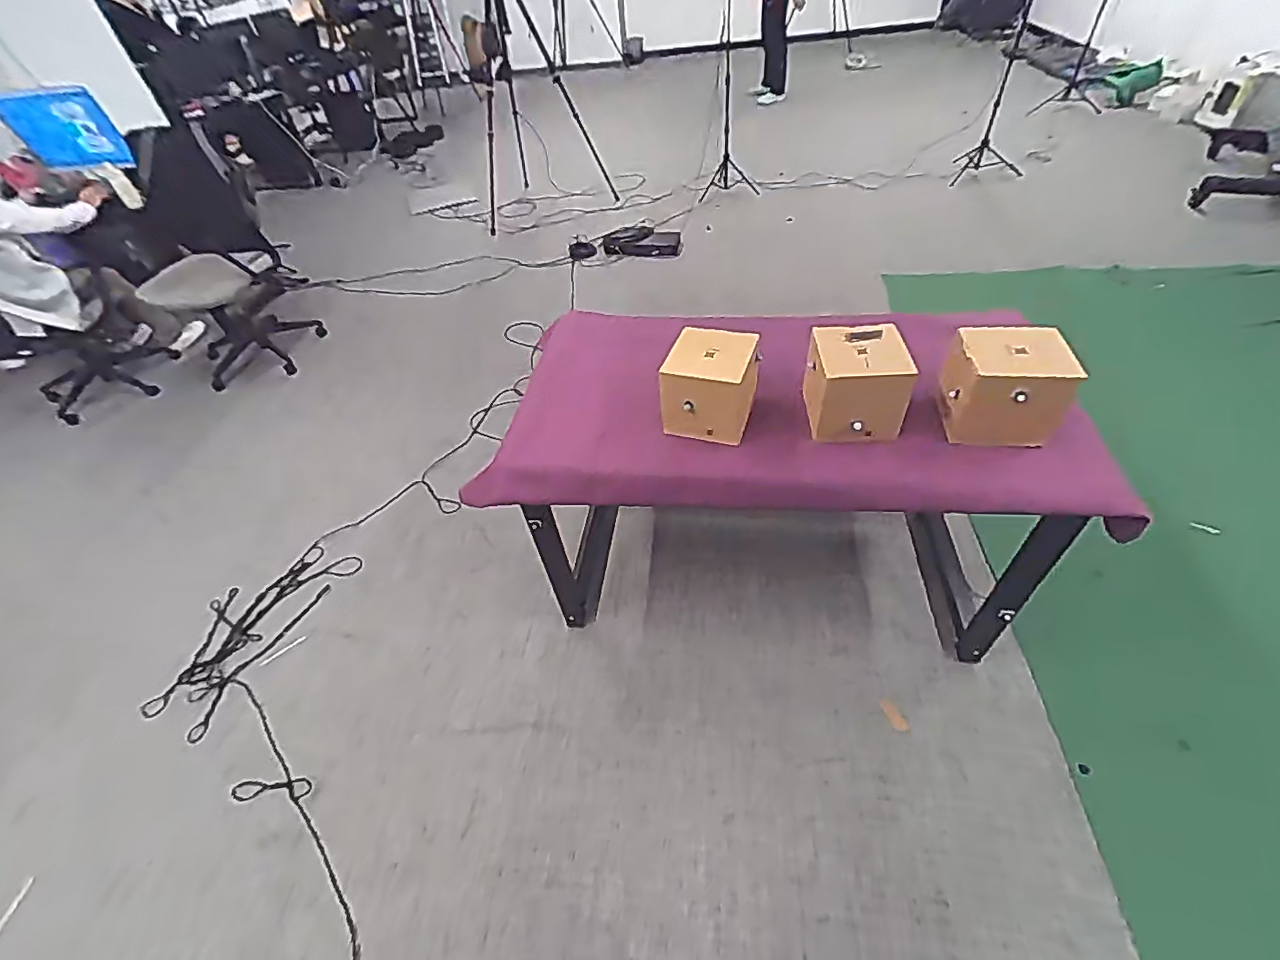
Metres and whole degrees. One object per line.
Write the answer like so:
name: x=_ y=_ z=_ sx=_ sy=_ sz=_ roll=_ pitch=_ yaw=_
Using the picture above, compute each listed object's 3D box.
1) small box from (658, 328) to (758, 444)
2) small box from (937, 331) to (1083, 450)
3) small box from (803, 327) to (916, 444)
small box: x=0.148 y=-0.198 z=1.149 sx=0.168 sy=0.176 sz=0.179 roll=12 pitch=48 yaw=18
small box: x=0.701 y=-0.173 z=1.055 sx=0.179 sy=0.176 sz=0.168 roll=5 pitch=46 yaw=11
small box: x=0.436 y=-0.193 z=1.107 sx=0.168 sy=0.176 sz=0.179 roll=-1 pitch=47 yaw=6
